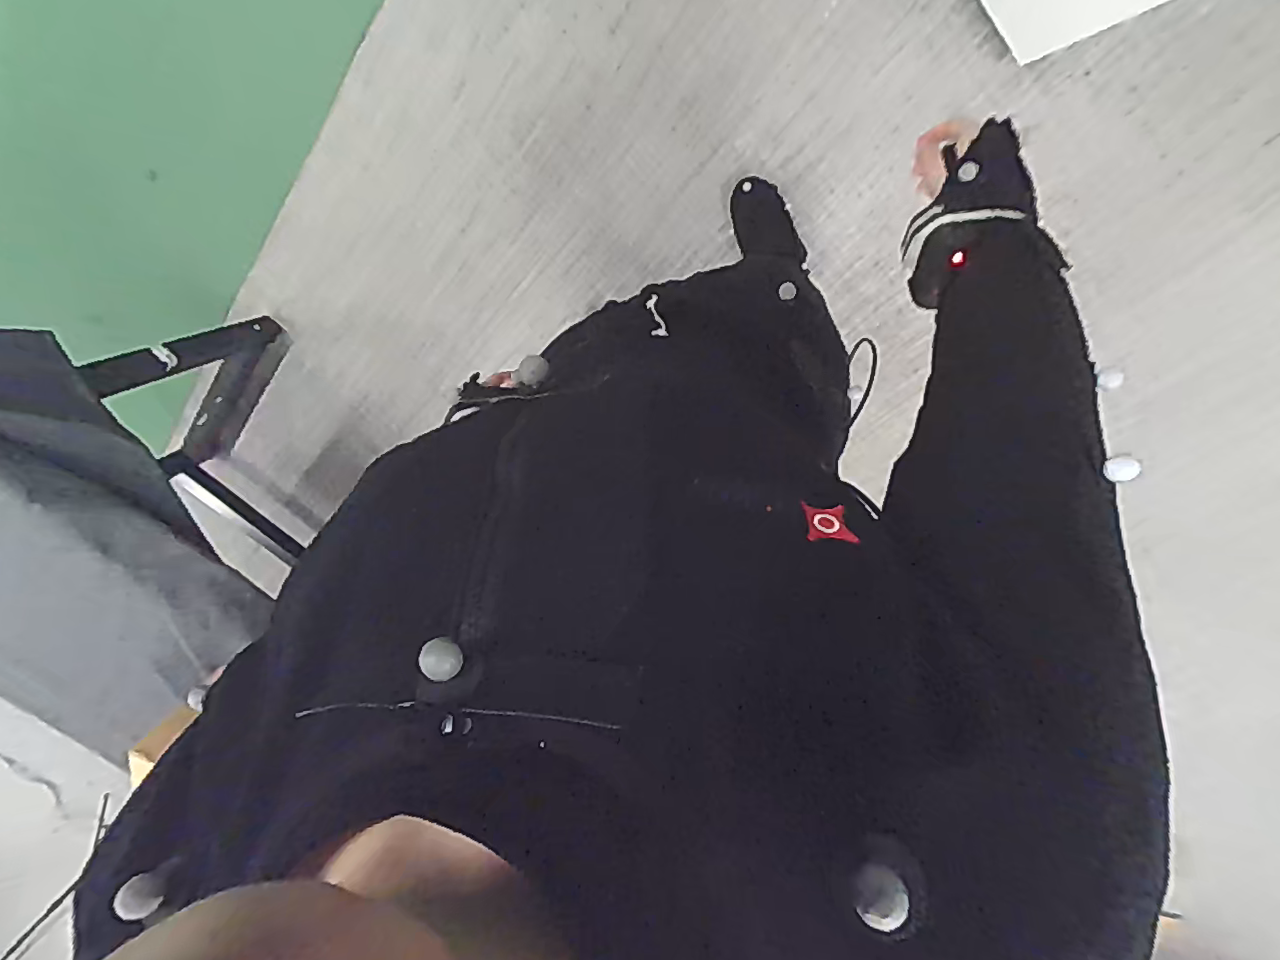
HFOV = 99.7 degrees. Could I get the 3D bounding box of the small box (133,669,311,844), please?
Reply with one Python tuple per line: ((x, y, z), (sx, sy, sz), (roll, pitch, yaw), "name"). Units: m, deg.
((-0.687, 0.458, 0.905), (0.168, 0.176, 0.179), (27, 121, -4), "small box")
